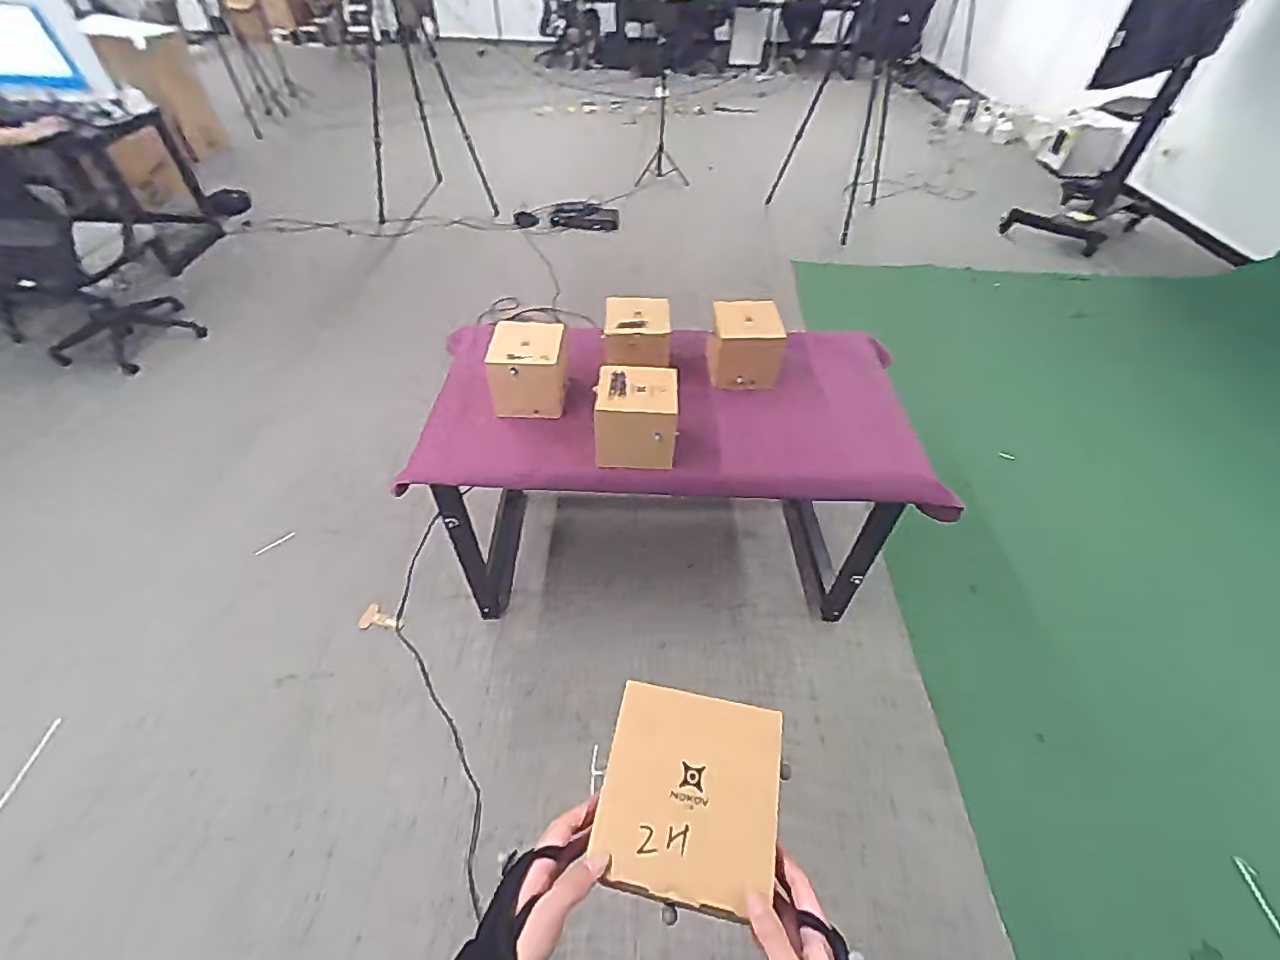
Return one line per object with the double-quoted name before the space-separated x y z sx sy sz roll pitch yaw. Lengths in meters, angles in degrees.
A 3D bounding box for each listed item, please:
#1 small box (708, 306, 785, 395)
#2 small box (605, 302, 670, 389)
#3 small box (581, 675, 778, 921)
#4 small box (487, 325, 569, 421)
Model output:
"small box" 0.278 -0.350 1.458 0.168 0.176 0.179 0 48 -1
"small box" -0.007 -0.359 1.455 0.168 0.176 0.179 1 47 -1
"small box" 0.046 0.338 0.576 0.168 0.176 0.179 8 51 10
"small box" -0.272 -0.269 1.360 0.168 0.176 0.179 1 47 1
